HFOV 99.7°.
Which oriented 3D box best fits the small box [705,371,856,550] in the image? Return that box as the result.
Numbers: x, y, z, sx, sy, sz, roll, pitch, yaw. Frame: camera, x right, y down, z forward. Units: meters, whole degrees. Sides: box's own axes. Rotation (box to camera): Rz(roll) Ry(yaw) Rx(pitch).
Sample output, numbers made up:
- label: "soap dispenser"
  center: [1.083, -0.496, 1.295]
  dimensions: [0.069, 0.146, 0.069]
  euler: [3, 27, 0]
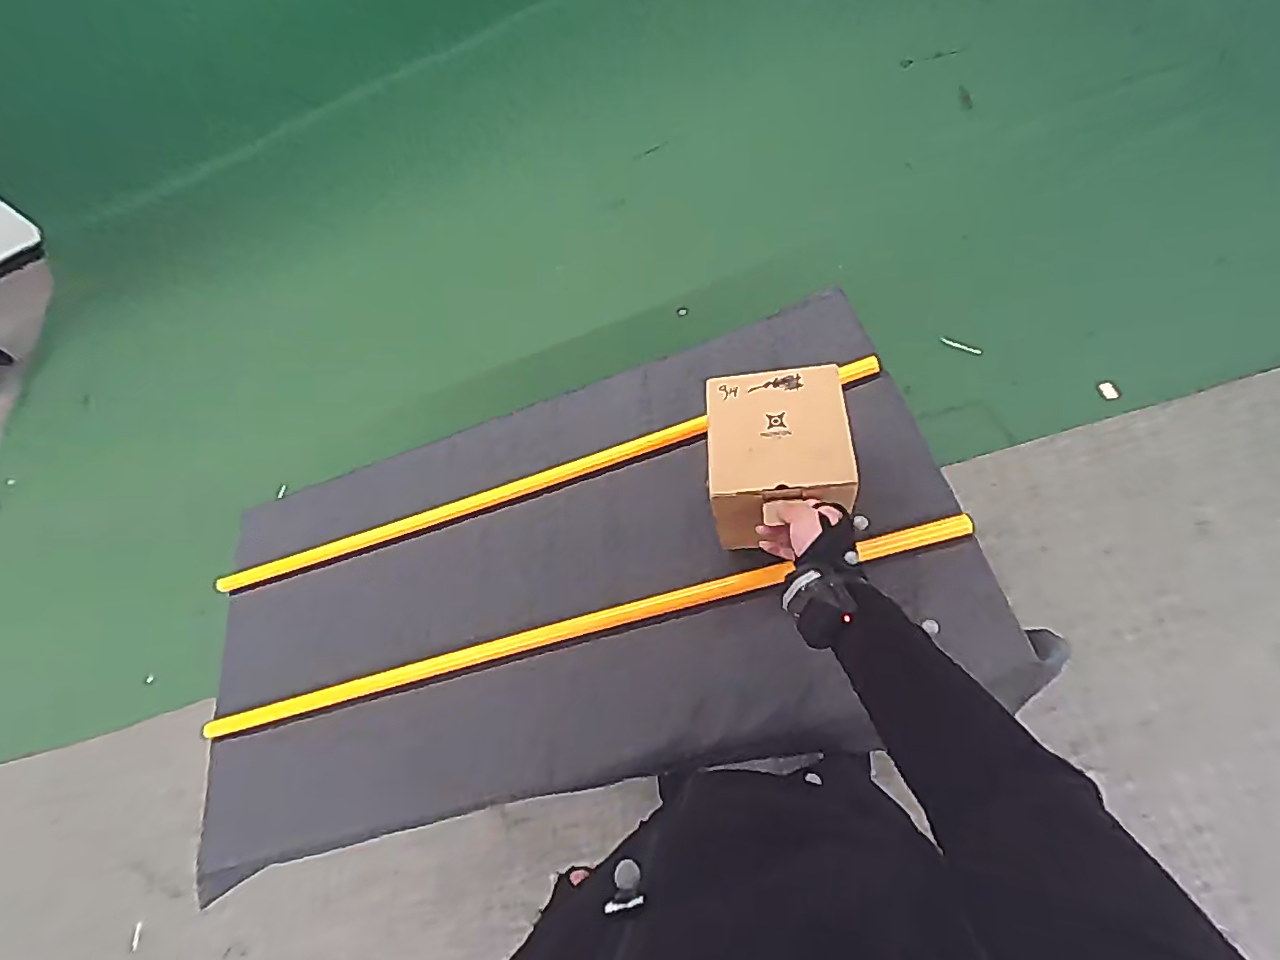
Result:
- label: "small box"
  center: [0.183, -0.014, 0.722]
  dimensions: [0.168, 0.176, 0.179]
  euler: [-7, 60, 12]
